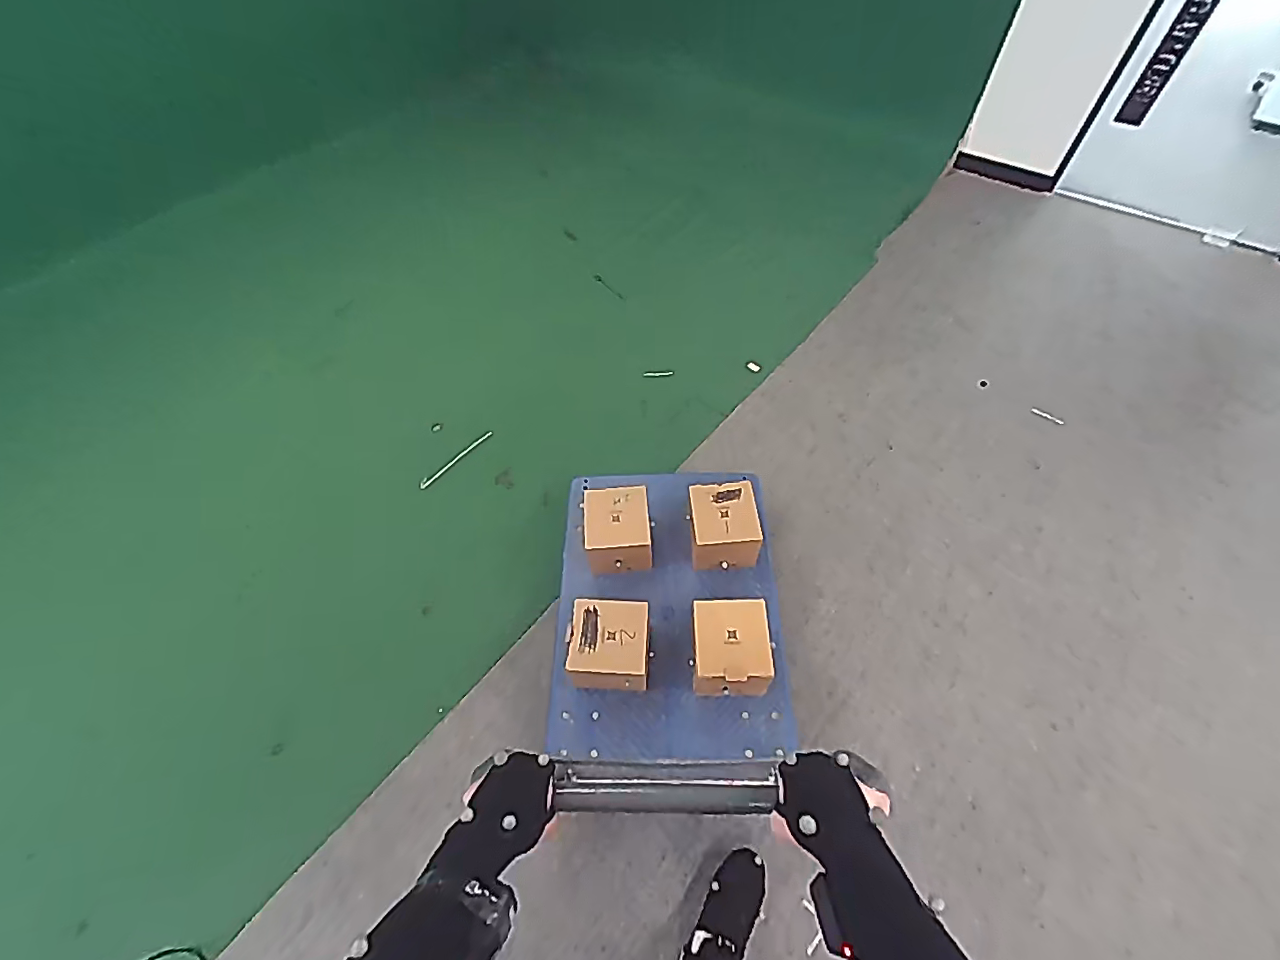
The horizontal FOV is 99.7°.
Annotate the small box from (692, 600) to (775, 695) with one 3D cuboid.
[{"bbox_3d":[0.211,0.393,1.263,0.168,0.176,0.179,-1,57,2],"label":"small box"}]

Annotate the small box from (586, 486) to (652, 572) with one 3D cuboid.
[{"bbox_3d":[-0.054,0.137,1.442,0.168,0.176,0.179,-4,57,-1],"label":"small box"}]

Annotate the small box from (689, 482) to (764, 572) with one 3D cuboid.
[{"bbox_3d":[0.222,0.127,1.436,0.168,0.176,0.179,-5,58,0],"label":"small box"}]
